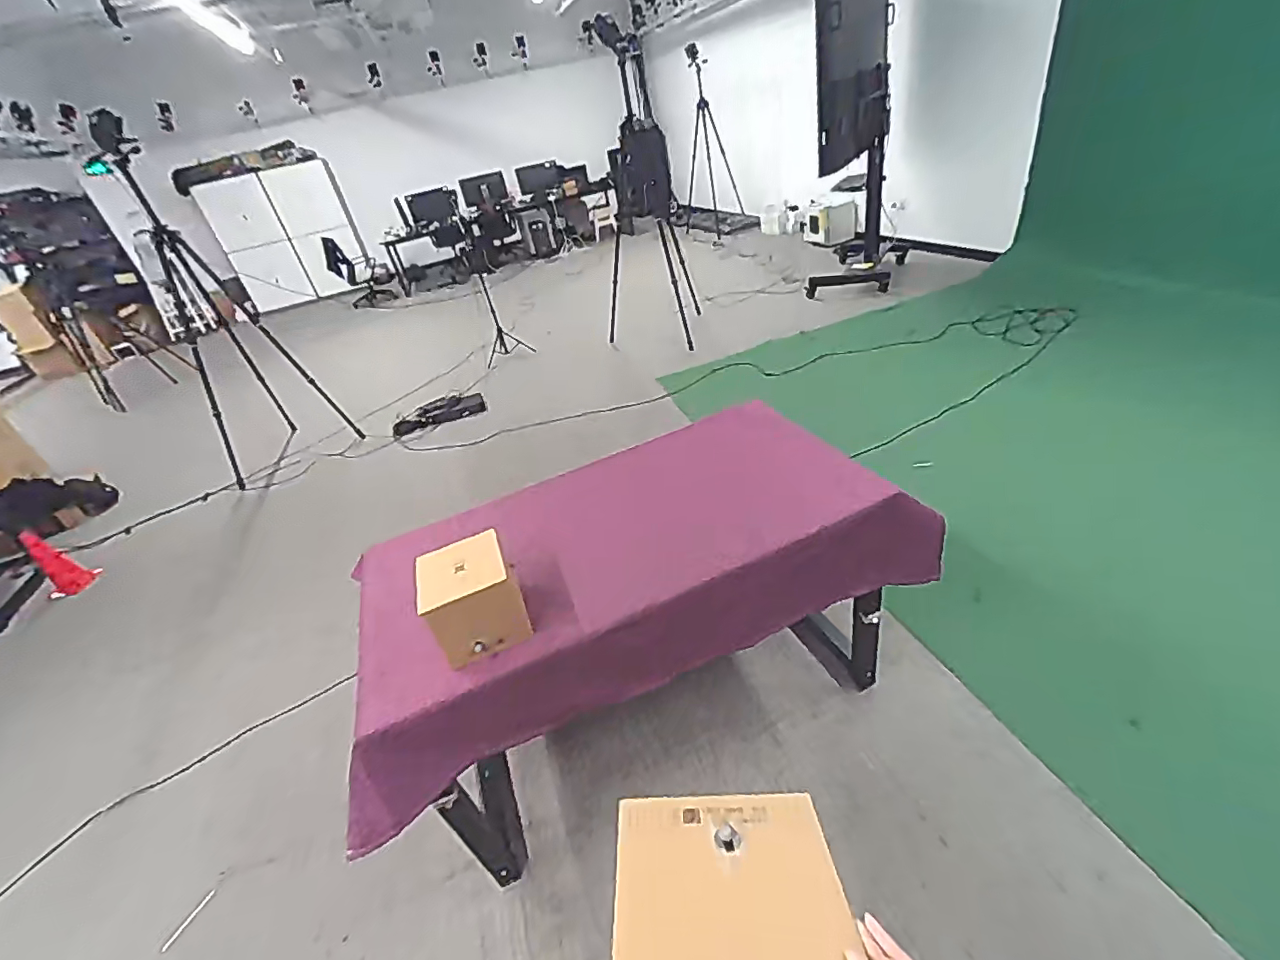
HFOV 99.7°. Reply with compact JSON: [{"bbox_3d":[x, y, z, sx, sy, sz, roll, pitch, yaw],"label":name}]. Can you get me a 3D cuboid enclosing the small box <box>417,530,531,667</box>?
[{"bbox_3d":[-0.332,0.236,1.085,0.168,0.176,0.179,-22,35,-11],"label":"small box"}]
